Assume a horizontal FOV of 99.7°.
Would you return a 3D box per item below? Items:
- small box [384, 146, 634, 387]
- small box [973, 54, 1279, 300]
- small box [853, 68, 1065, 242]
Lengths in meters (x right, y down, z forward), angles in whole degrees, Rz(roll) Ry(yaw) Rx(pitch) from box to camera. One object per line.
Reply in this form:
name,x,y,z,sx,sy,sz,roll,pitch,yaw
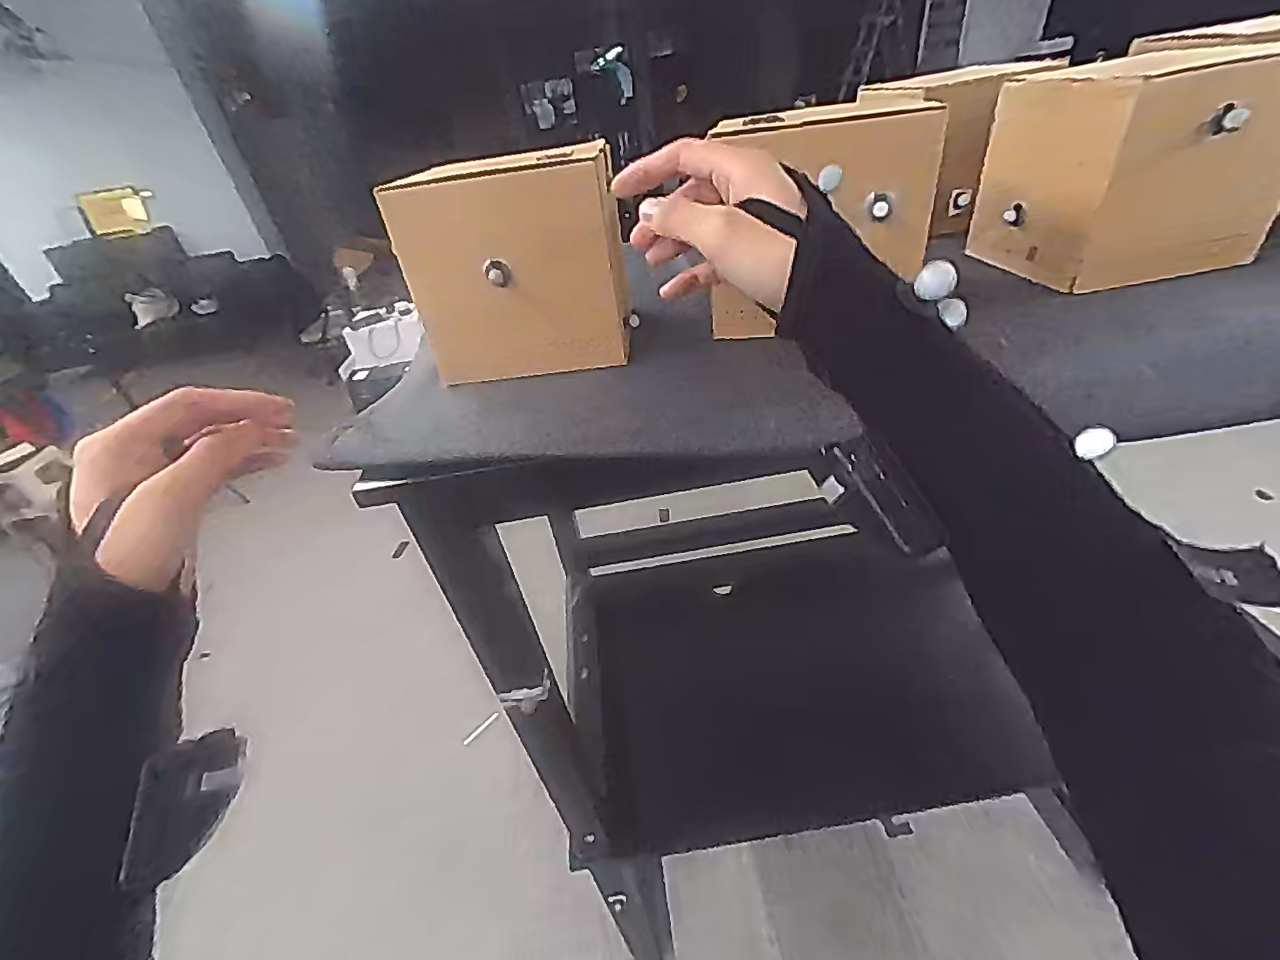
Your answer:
small box,-0.101,-0.205,0.521,0.179,0.176,0.168,-7,34,5
small box,0.464,-0.290,0.519,0.179,0.176,0.168,-10,36,0
small box,0.401,-0.429,0.721,0.168,0.176,0.179,-10,36,0
